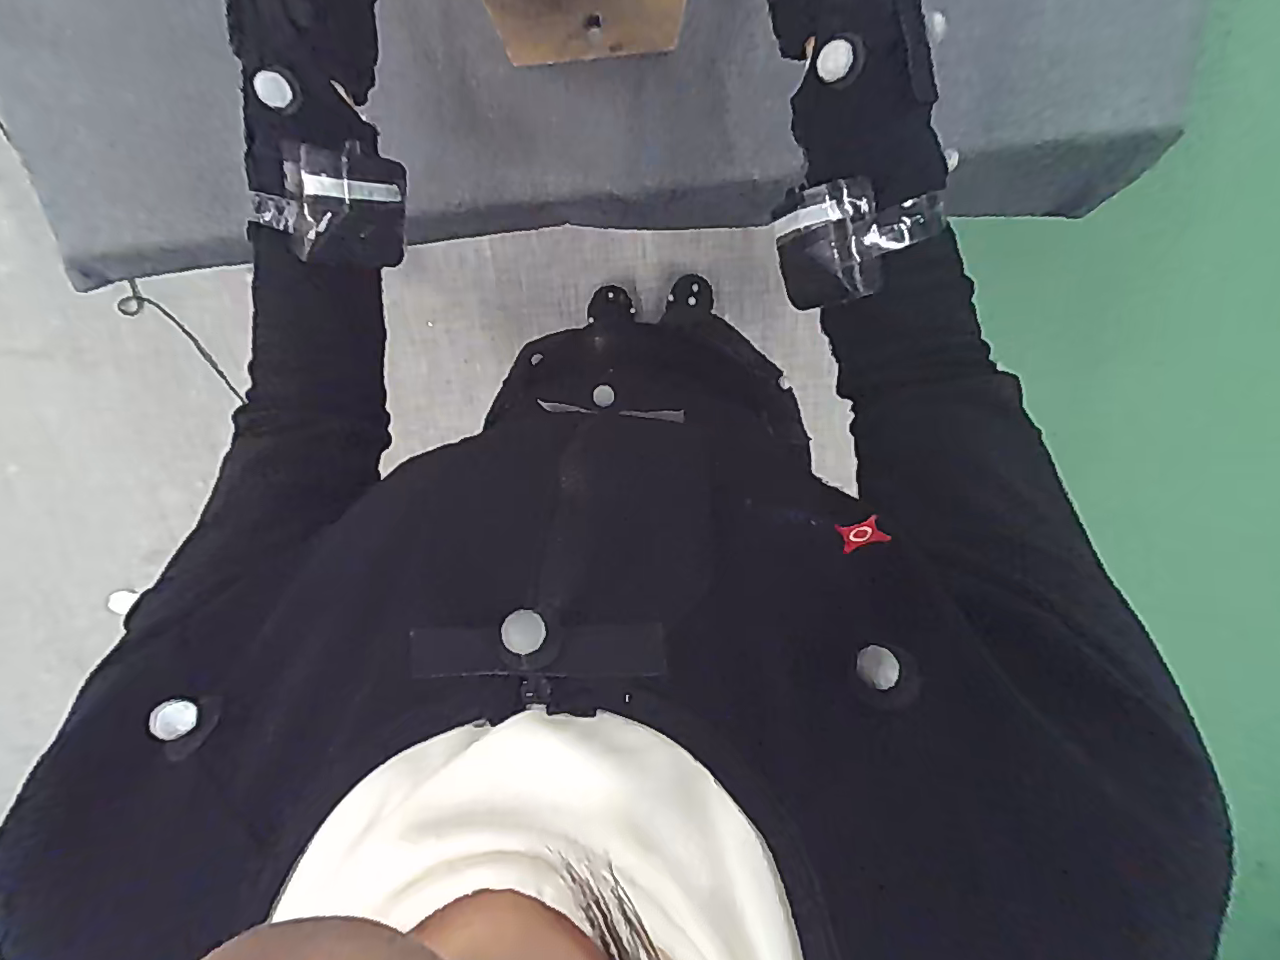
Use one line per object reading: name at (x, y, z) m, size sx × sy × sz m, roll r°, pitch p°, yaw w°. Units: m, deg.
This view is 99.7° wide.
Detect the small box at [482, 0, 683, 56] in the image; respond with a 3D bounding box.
small box at (-0.050, -0.477, 0.436) m, size 0.168 × 0.176 × 0.179 m, roll -7°, pitch 110°, yaw 2°
